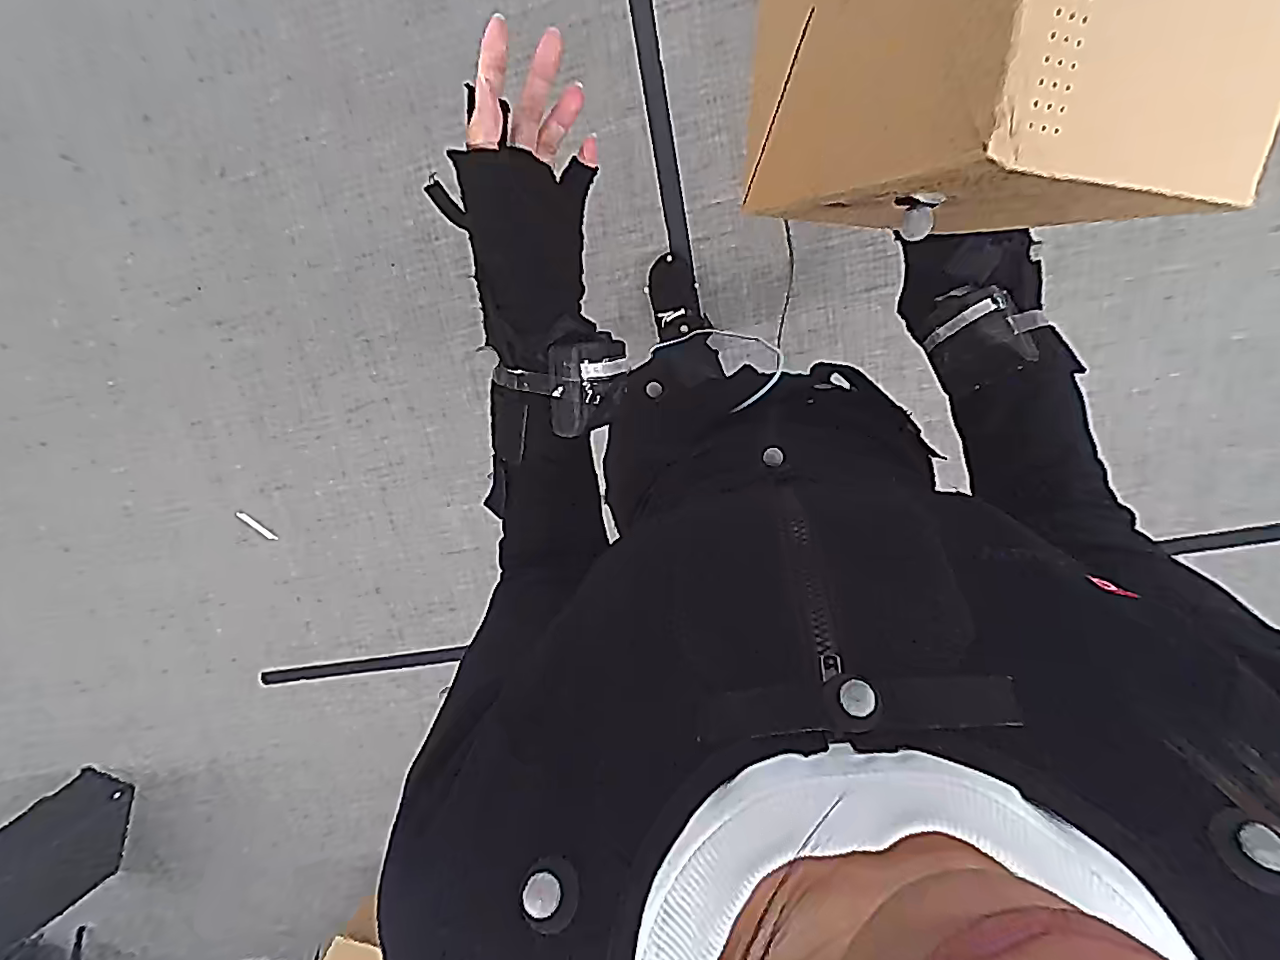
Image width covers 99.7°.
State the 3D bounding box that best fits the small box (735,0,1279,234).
[{"bbox_3d":[0.162,-0.228,0.266,0.176,0.168,0.179,-4,110,-19],"label":"small box"}]
